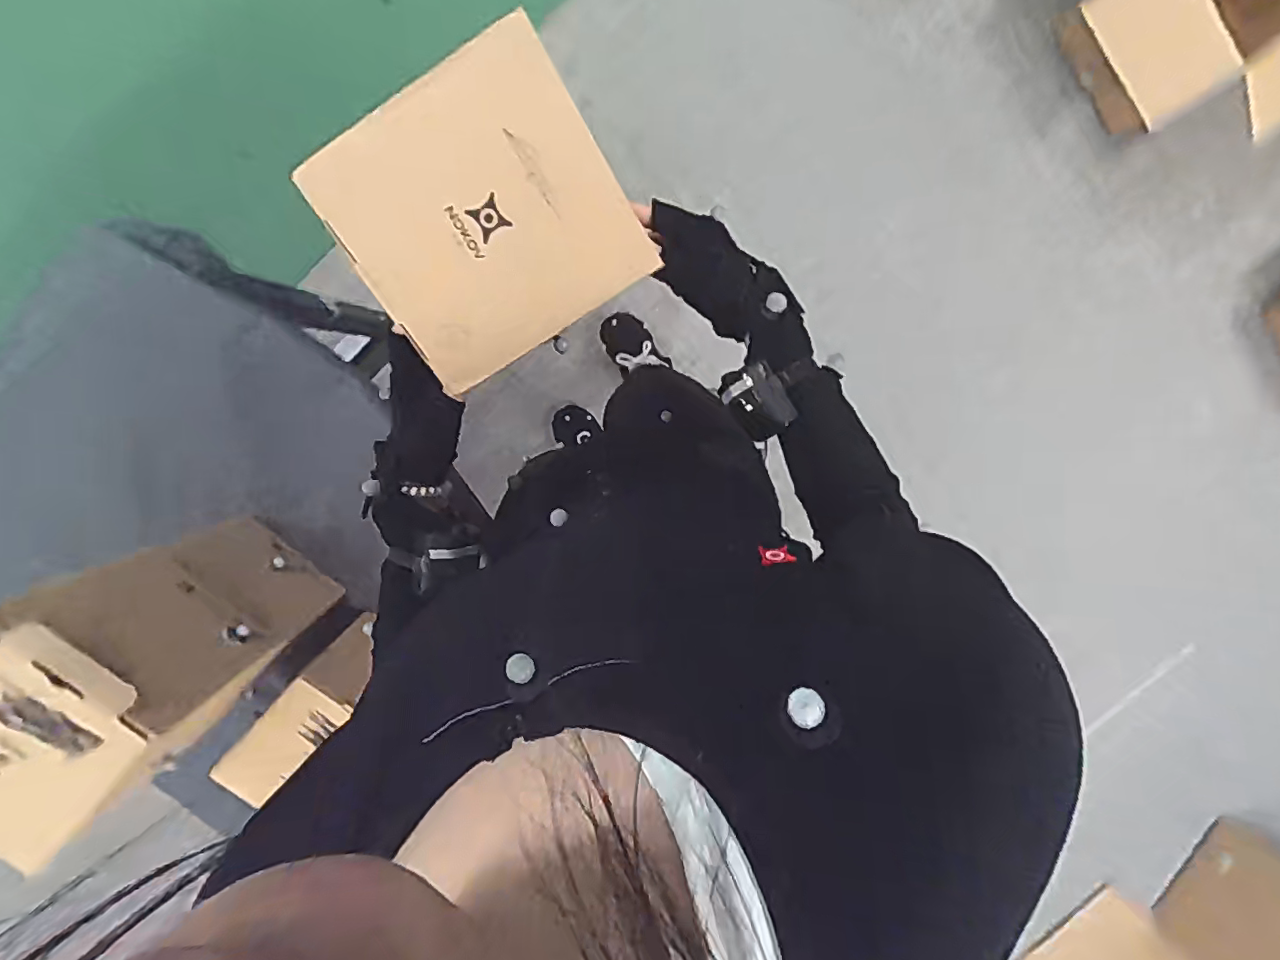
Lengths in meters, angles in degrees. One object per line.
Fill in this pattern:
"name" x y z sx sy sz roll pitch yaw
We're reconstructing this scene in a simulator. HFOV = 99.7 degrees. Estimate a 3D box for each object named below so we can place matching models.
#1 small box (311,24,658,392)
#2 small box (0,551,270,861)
"small box" -0.101 -0.193 0.433 0.179 0.176 0.168 -29 108 7
"small box" -0.506 0.196 0.519 0.168 0.176 0.179 43 97 -9
